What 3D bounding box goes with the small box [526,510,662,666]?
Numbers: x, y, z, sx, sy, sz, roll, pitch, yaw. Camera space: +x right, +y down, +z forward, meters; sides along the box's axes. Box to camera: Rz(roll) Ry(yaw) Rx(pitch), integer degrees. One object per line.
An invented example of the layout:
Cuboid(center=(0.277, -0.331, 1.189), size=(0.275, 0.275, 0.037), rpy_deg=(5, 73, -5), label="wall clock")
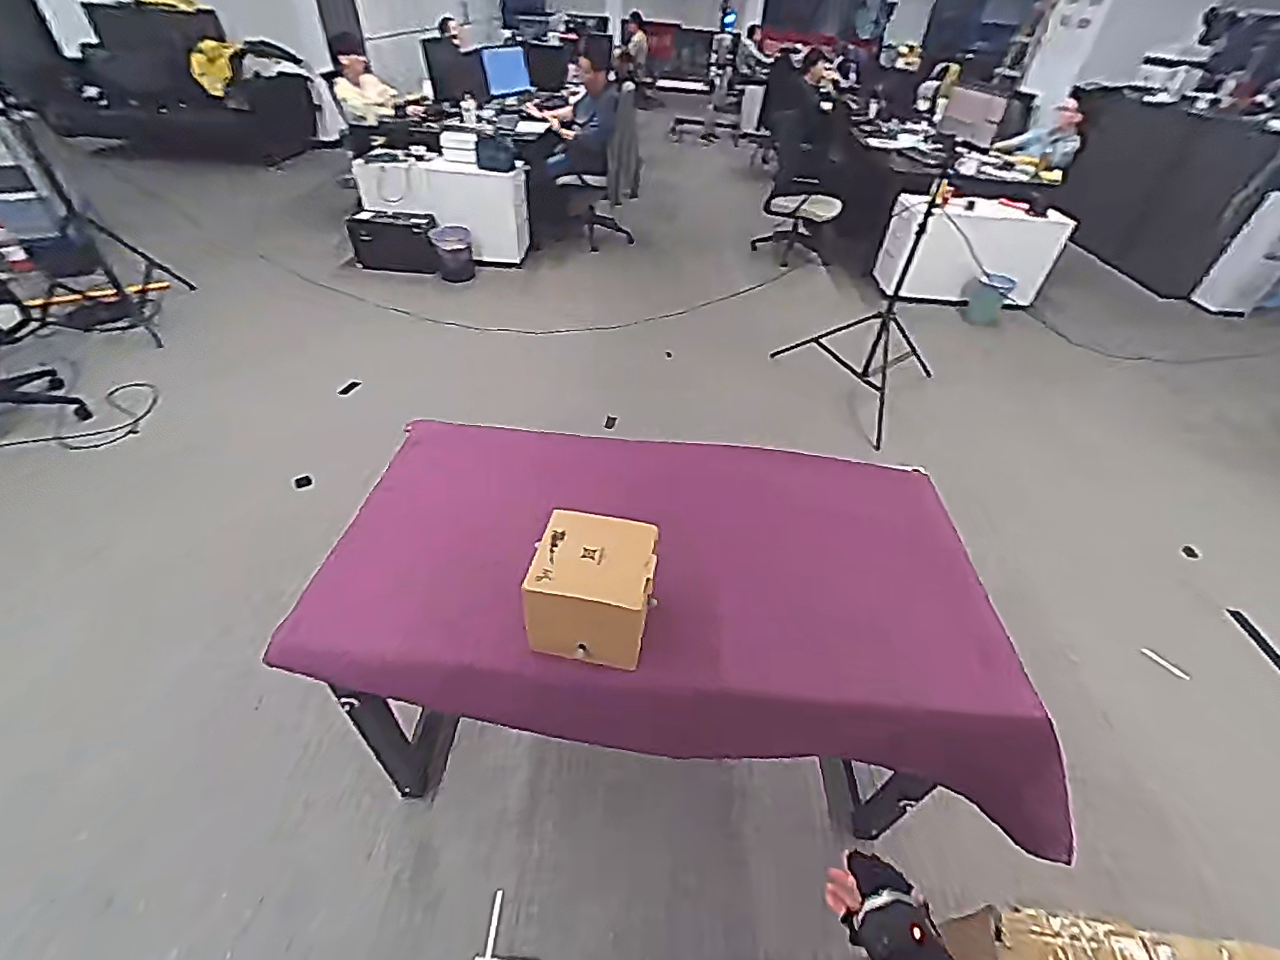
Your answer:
Cuboid(center=(-0.070, 0.176, 0.872), size=(0.179, 0.176, 0.168), rpy_deg=(10, 41, 5), label="small box")
